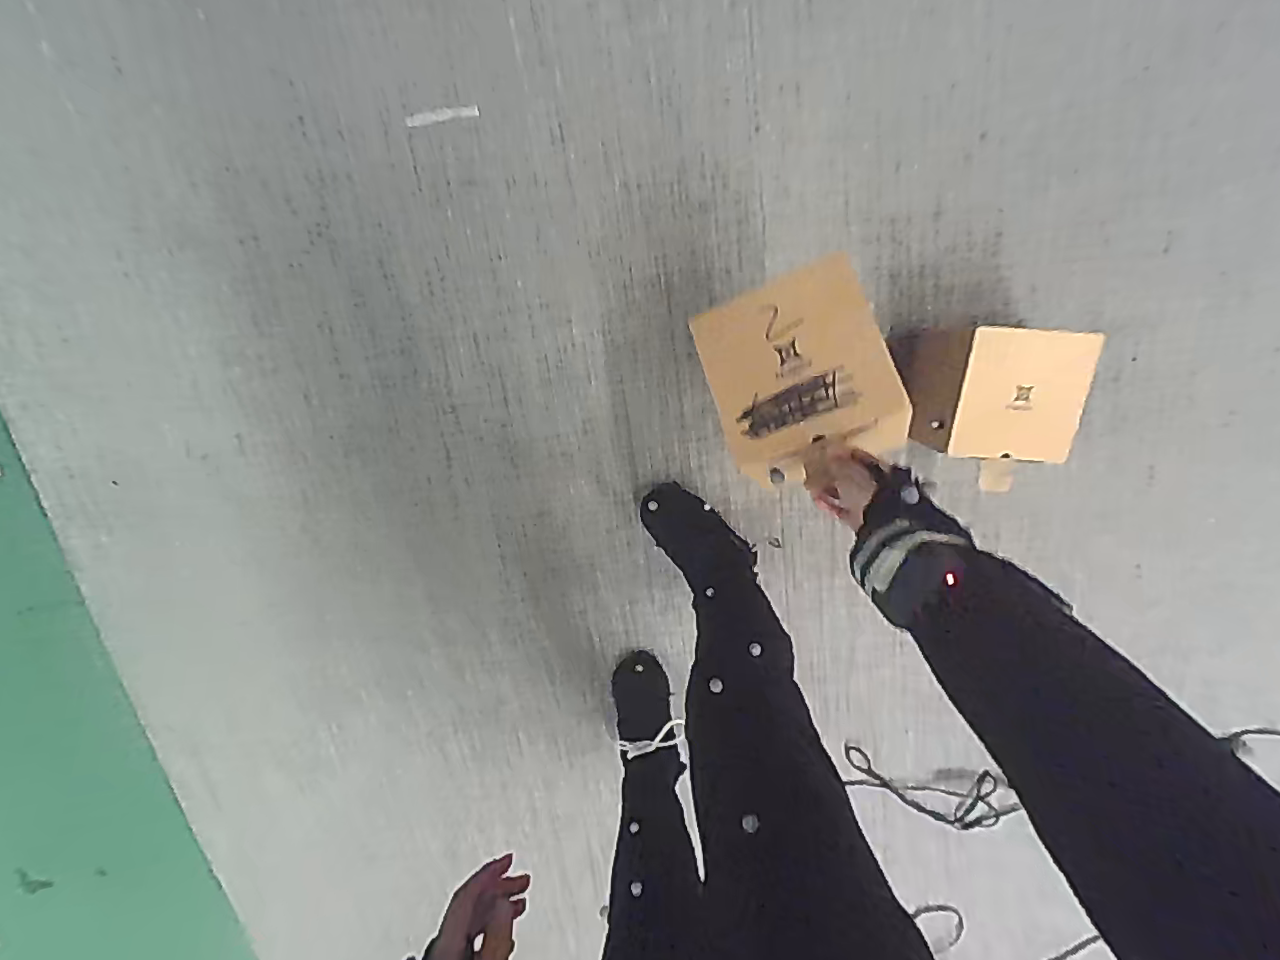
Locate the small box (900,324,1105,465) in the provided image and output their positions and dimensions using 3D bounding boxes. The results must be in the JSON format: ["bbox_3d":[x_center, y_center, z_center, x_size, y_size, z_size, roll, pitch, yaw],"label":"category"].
[{"bbox_3d":[0.503,-0.131,0.782,0.168,0.176,0.179,4,107,0],"label":"small box"}]
